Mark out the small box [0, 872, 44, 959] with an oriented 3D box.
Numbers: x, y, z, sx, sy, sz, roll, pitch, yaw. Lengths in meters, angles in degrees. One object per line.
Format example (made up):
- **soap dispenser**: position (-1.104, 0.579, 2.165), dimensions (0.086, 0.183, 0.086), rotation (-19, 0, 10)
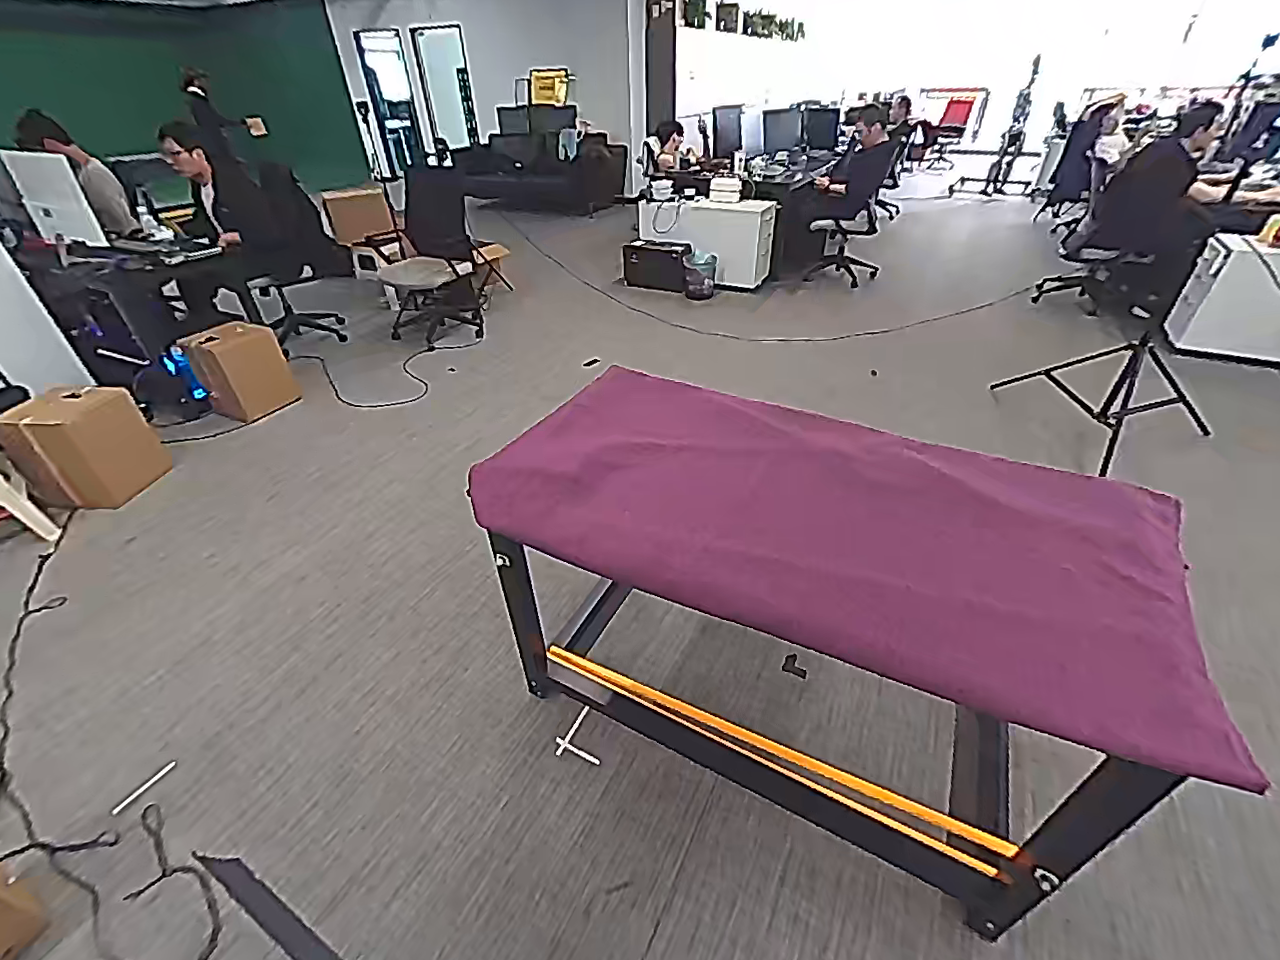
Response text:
- **small box**: position (-1.362, 0.888, 1.067), dimensions (0.179, 0.176, 0.168), rotation (18, 41, 22)
